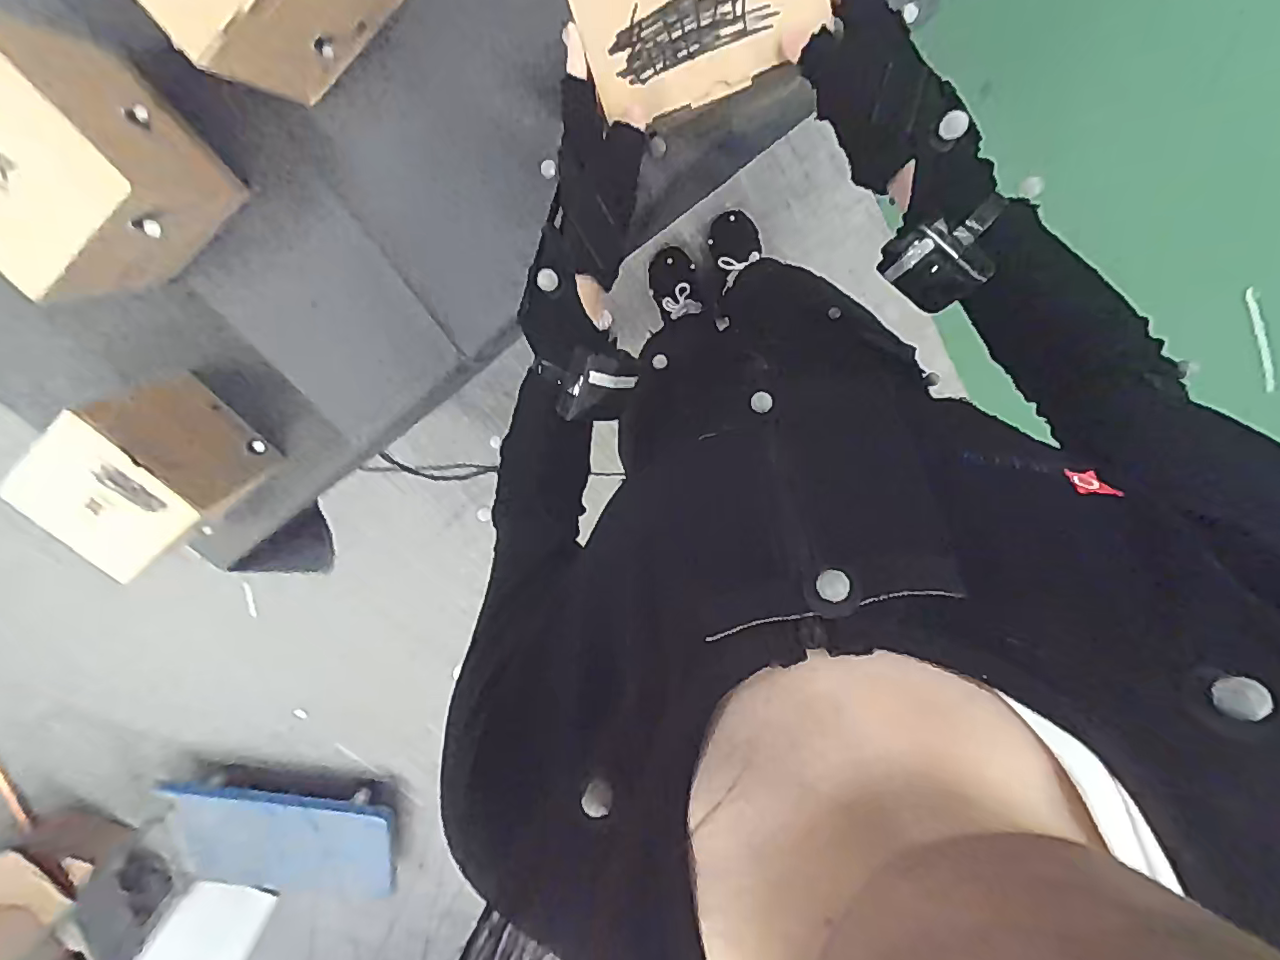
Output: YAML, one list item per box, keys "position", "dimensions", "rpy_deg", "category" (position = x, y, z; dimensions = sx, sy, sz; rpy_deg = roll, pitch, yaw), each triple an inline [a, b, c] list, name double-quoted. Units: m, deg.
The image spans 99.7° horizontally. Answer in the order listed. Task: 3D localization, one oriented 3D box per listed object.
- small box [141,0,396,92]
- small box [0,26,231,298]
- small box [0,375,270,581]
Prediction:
- position: [-0.354, -0.488, 0.470]
  dimensions: [0.168, 0.176, 0.179]
  rpy_deg: [-35, 111, 16]
  category: "small box"
- position: [-0.574, -0.317, 0.551]
  dimensions: [0.179, 0.176, 0.168]
  rpy_deg: [-33, 112, 15]
  category: "small box"
- position: [-0.631, -0.011, 0.700]
  dimensions: [0.179, 0.176, 0.168]
  rpy_deg: [-34, 110, 16]
  category: "small box"
